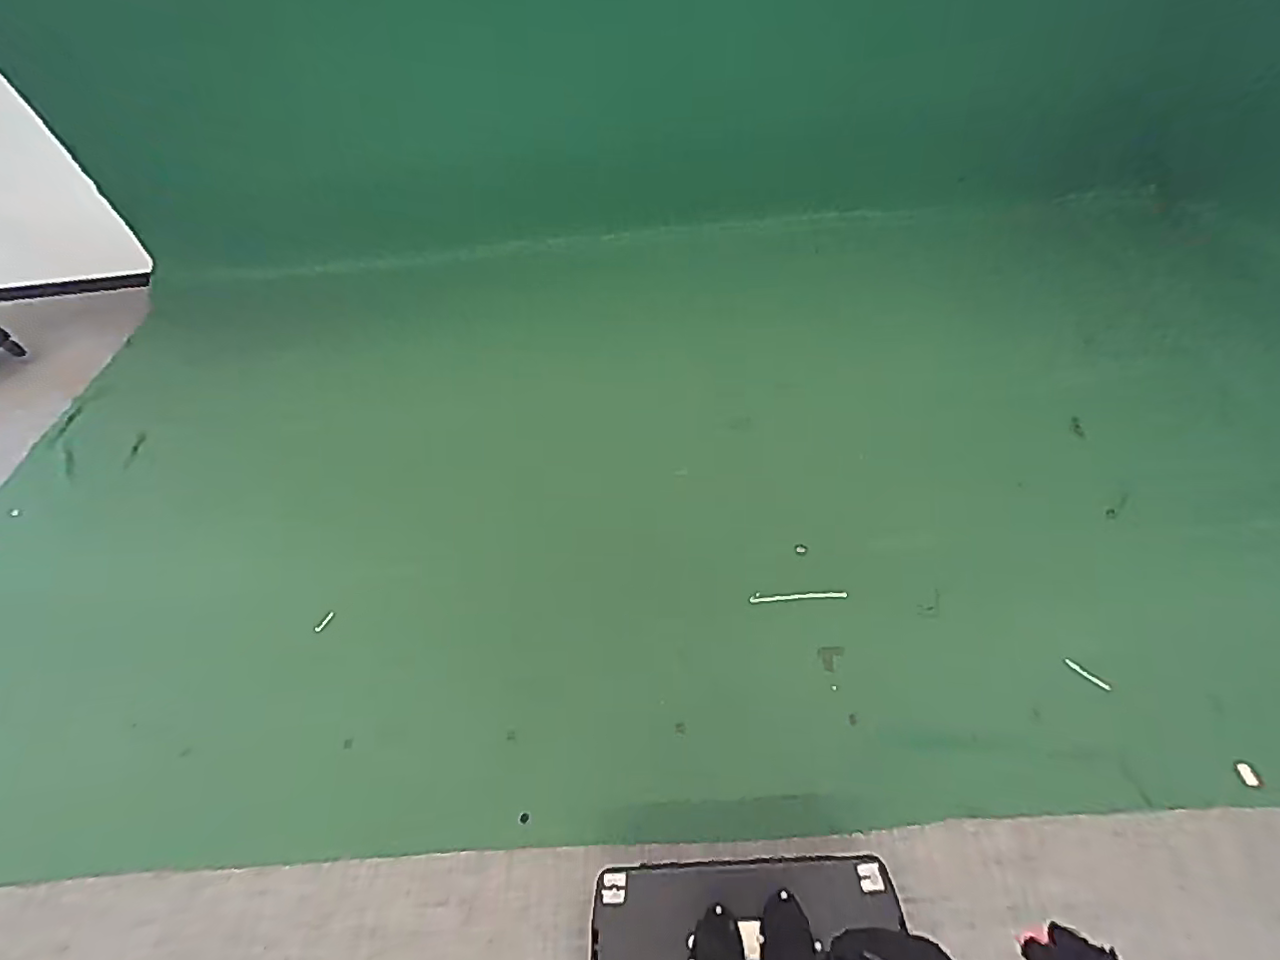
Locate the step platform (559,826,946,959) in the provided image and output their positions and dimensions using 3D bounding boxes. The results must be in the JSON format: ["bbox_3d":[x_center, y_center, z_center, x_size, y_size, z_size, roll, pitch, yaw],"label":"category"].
[{"bbox_3d":[0.198,0.864,1.048,0.684,0.204,0.286,-5,53,2],"label":"step platform"}]
